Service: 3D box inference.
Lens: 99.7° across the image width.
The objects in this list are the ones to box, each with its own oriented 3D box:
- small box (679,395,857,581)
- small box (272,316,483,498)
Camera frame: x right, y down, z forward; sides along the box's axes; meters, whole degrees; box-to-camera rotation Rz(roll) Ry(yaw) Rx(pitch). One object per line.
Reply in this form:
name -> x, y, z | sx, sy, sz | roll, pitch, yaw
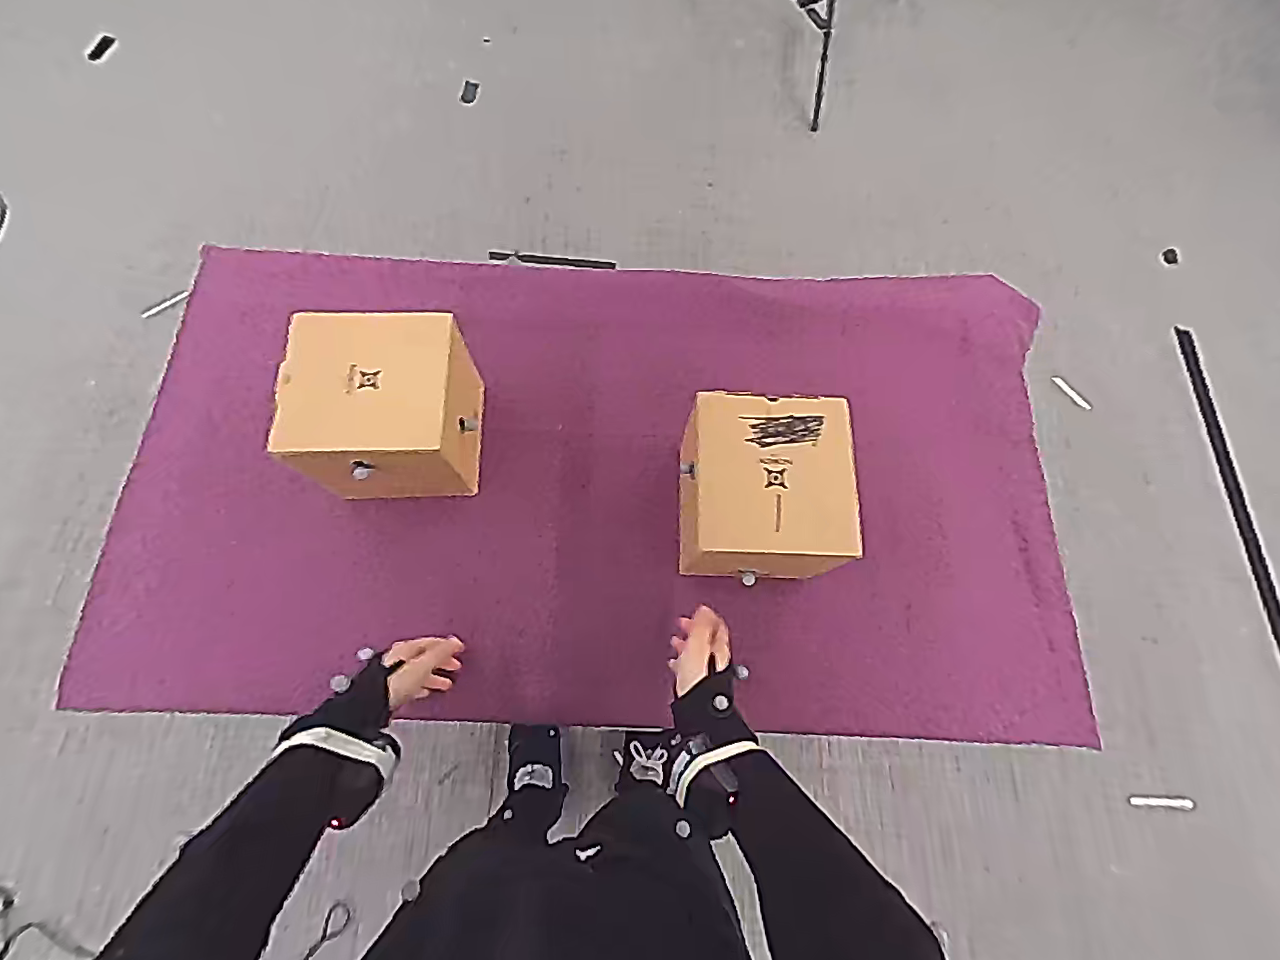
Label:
small box -> 0.136, 0.018, 0.640 | 0.168, 0.176, 0.179 | 2, 72, -1
small box -> -0.295, -0.079, 0.653 | 0.179, 0.176, 0.168 | -1, 73, -3
